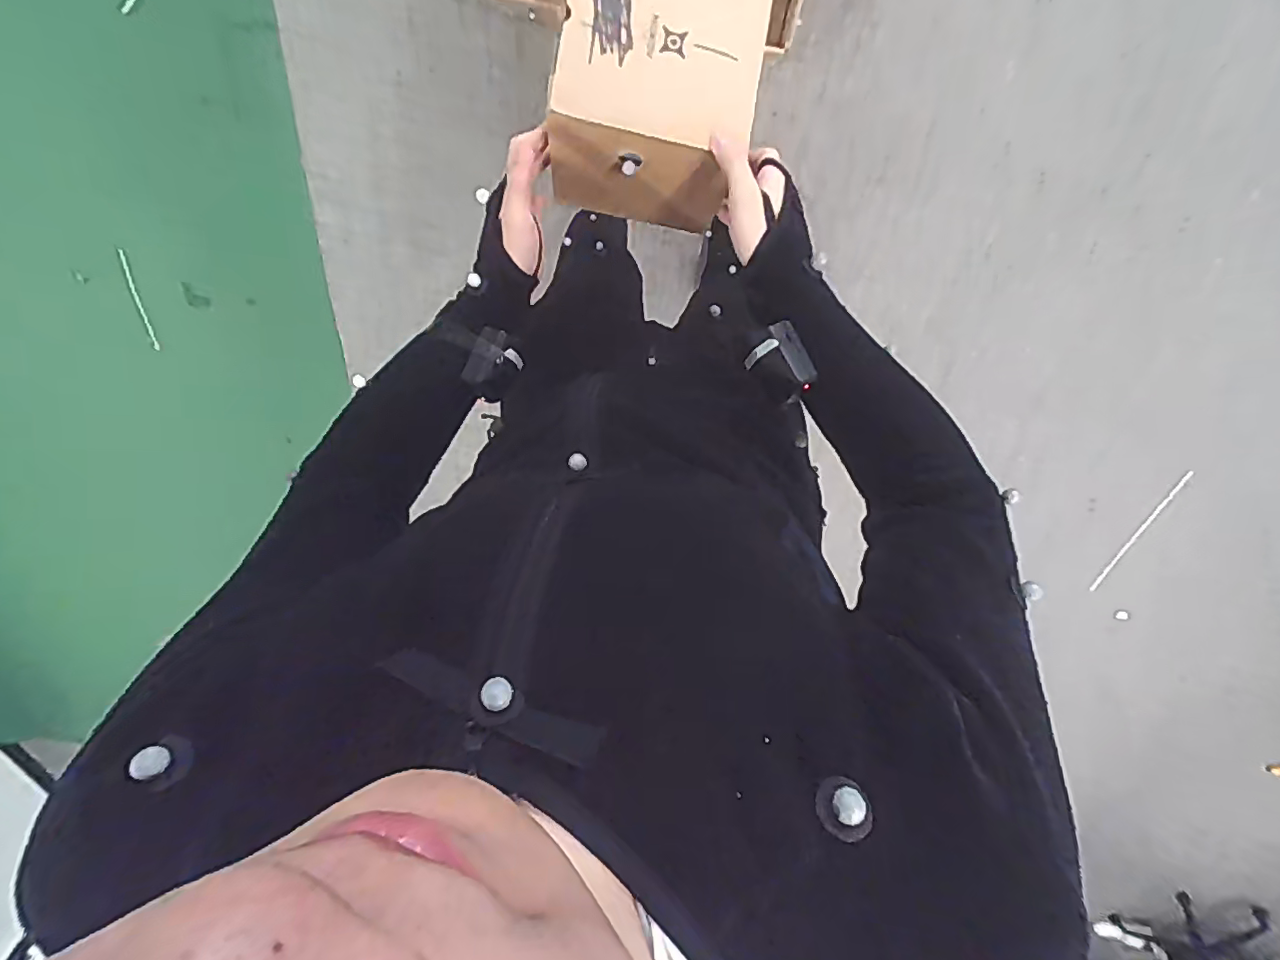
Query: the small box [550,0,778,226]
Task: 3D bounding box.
[{"bbox_3d":[0.014,-0.375,0.530,0.179,0.176,0.168,10,92,-8],"label":"small box"}]
